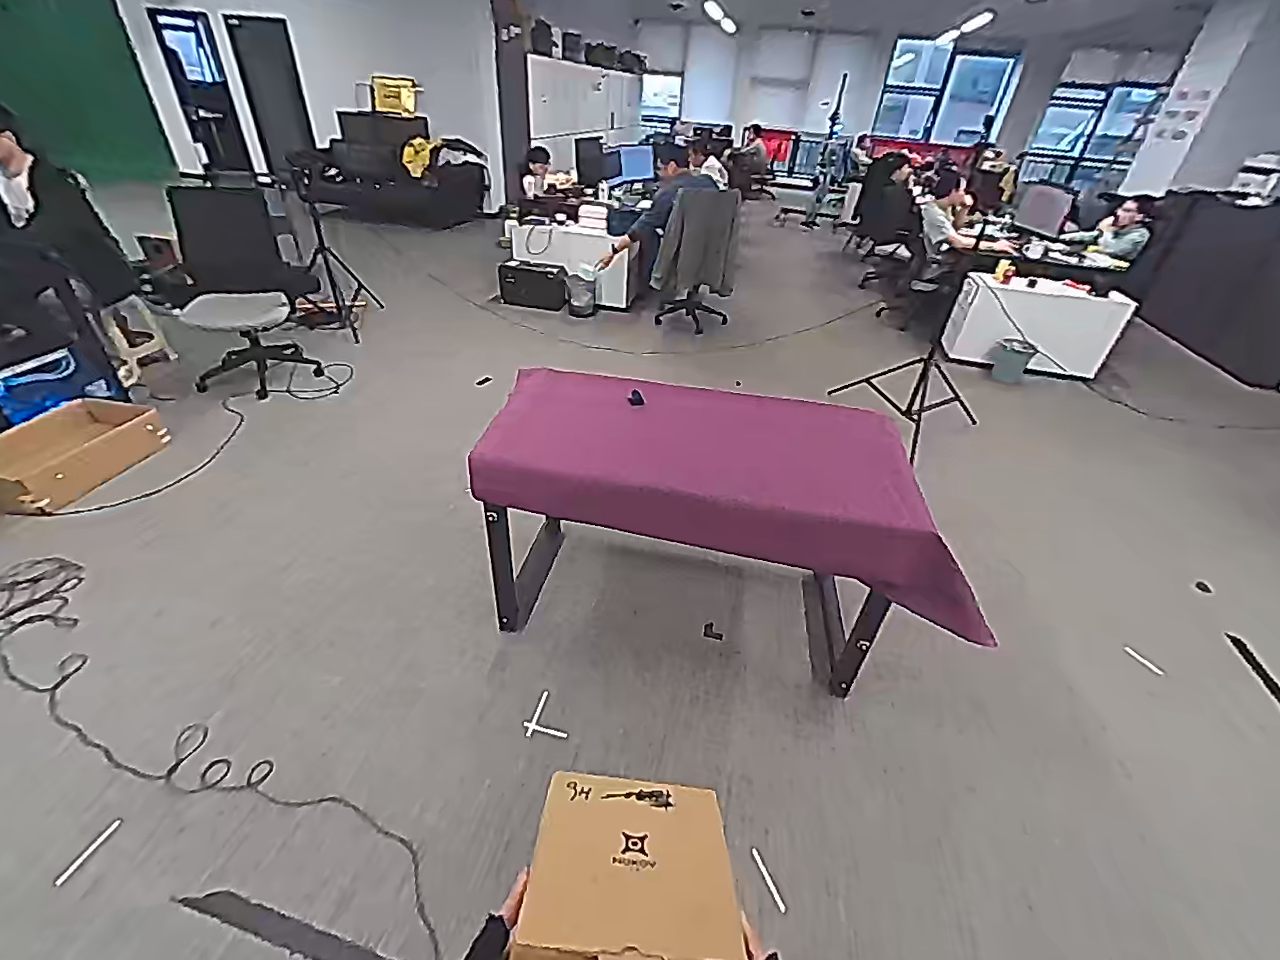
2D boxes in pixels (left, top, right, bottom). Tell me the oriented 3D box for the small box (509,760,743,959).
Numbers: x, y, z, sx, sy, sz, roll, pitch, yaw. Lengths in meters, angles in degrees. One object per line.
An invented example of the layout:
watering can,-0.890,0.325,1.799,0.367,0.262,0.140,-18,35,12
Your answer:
small box,-0.015,0.384,0.470,0.168,0.176,0.179,8,10,-1
